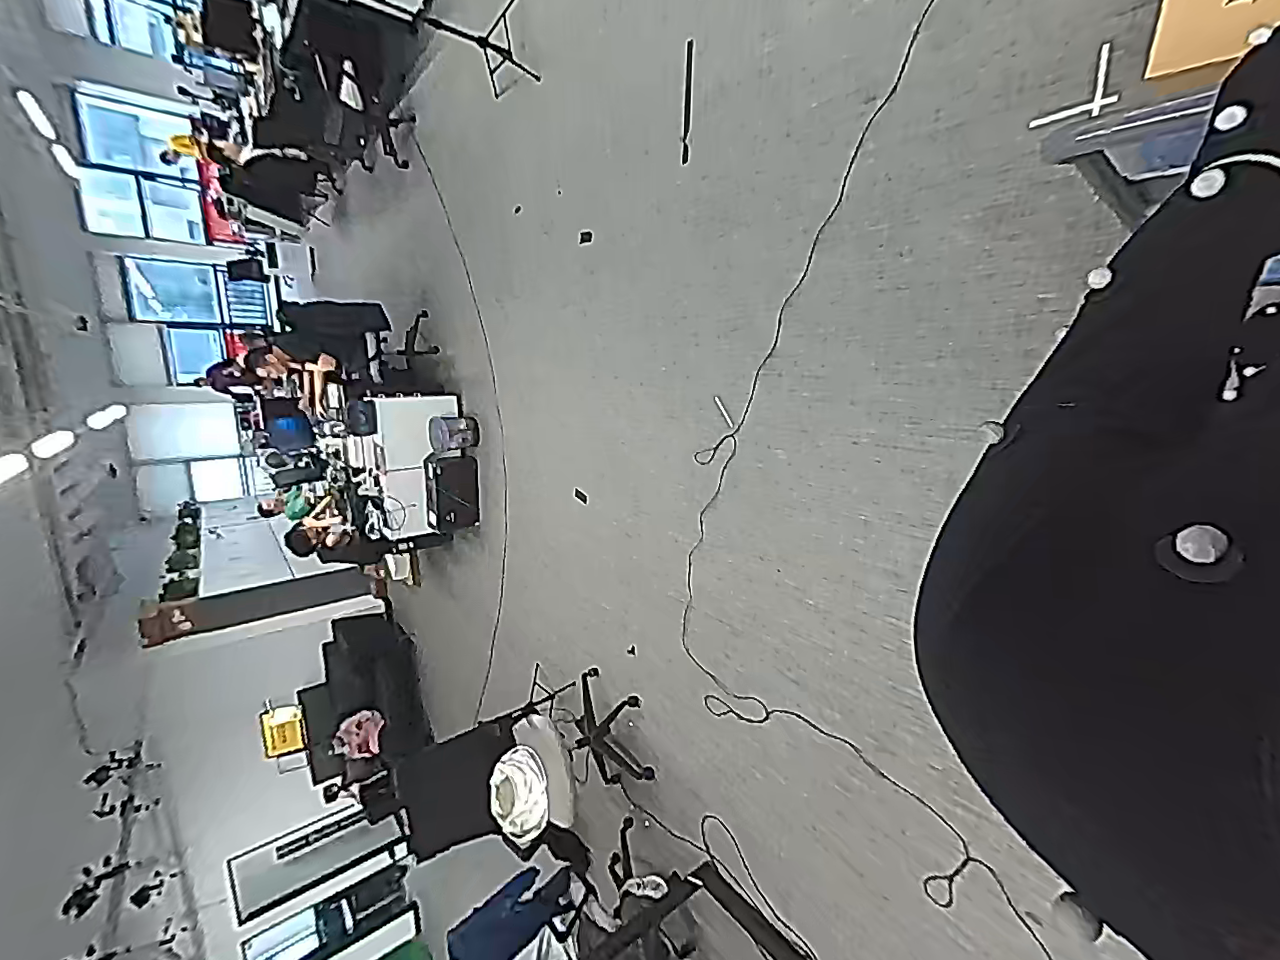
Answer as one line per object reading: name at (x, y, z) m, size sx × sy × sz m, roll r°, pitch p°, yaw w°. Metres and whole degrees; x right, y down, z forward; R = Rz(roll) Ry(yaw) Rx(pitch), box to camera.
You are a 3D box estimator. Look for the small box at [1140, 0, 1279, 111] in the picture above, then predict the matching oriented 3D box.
small box at (0.882, -0.673, 0.790) m, size 0.179 × 0.176 × 0.168 m, roll 19°, pitch 111°, yaw 47°
